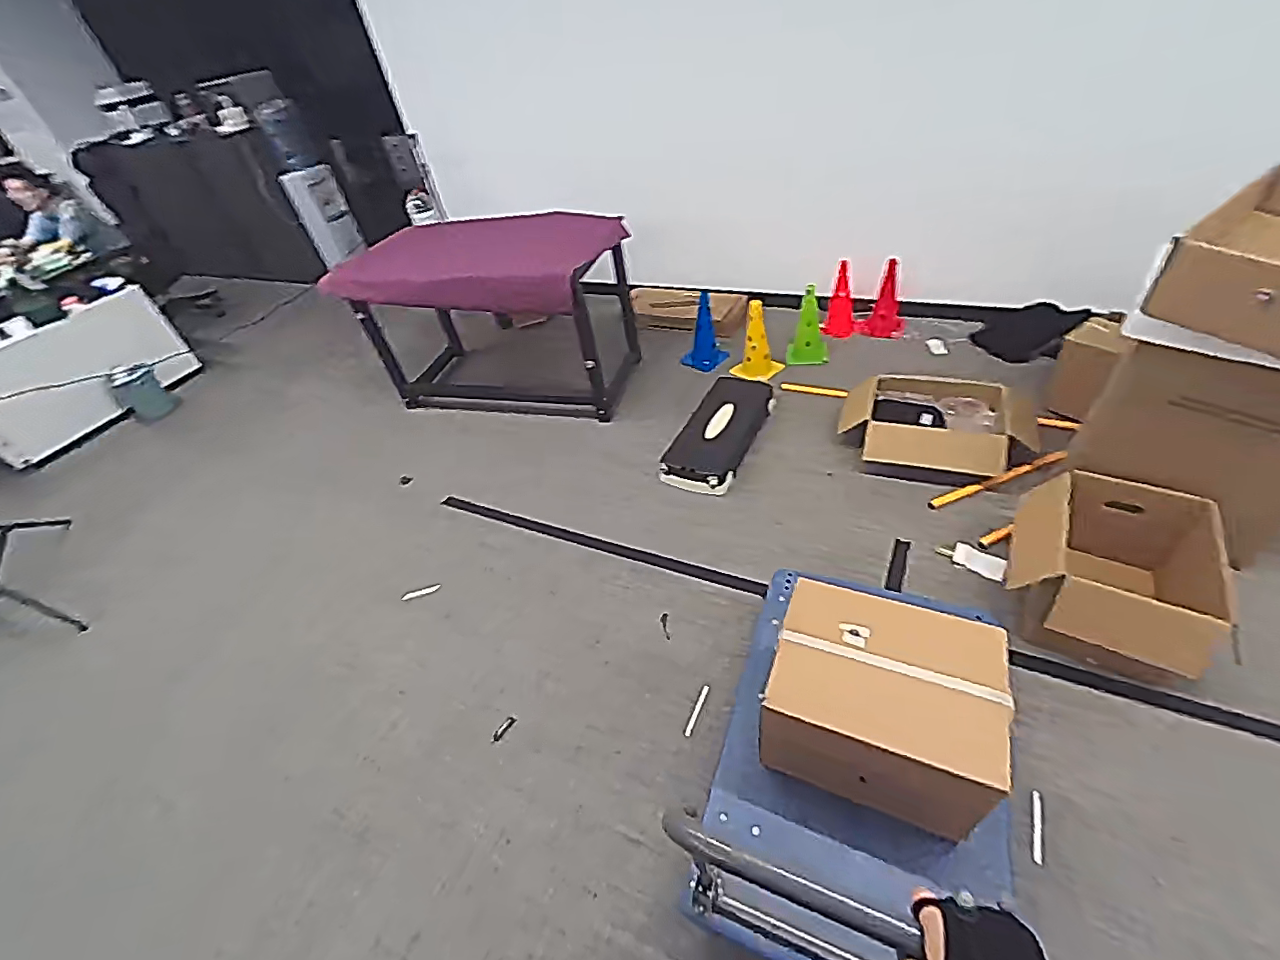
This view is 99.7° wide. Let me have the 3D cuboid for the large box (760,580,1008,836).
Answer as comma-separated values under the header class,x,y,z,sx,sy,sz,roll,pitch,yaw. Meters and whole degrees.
class,x,y,z,sx,sy,sz,roll,pitch,yaw
large box,0.487,0.461,1.124,0.408,0.320,0.320,11,46,24
